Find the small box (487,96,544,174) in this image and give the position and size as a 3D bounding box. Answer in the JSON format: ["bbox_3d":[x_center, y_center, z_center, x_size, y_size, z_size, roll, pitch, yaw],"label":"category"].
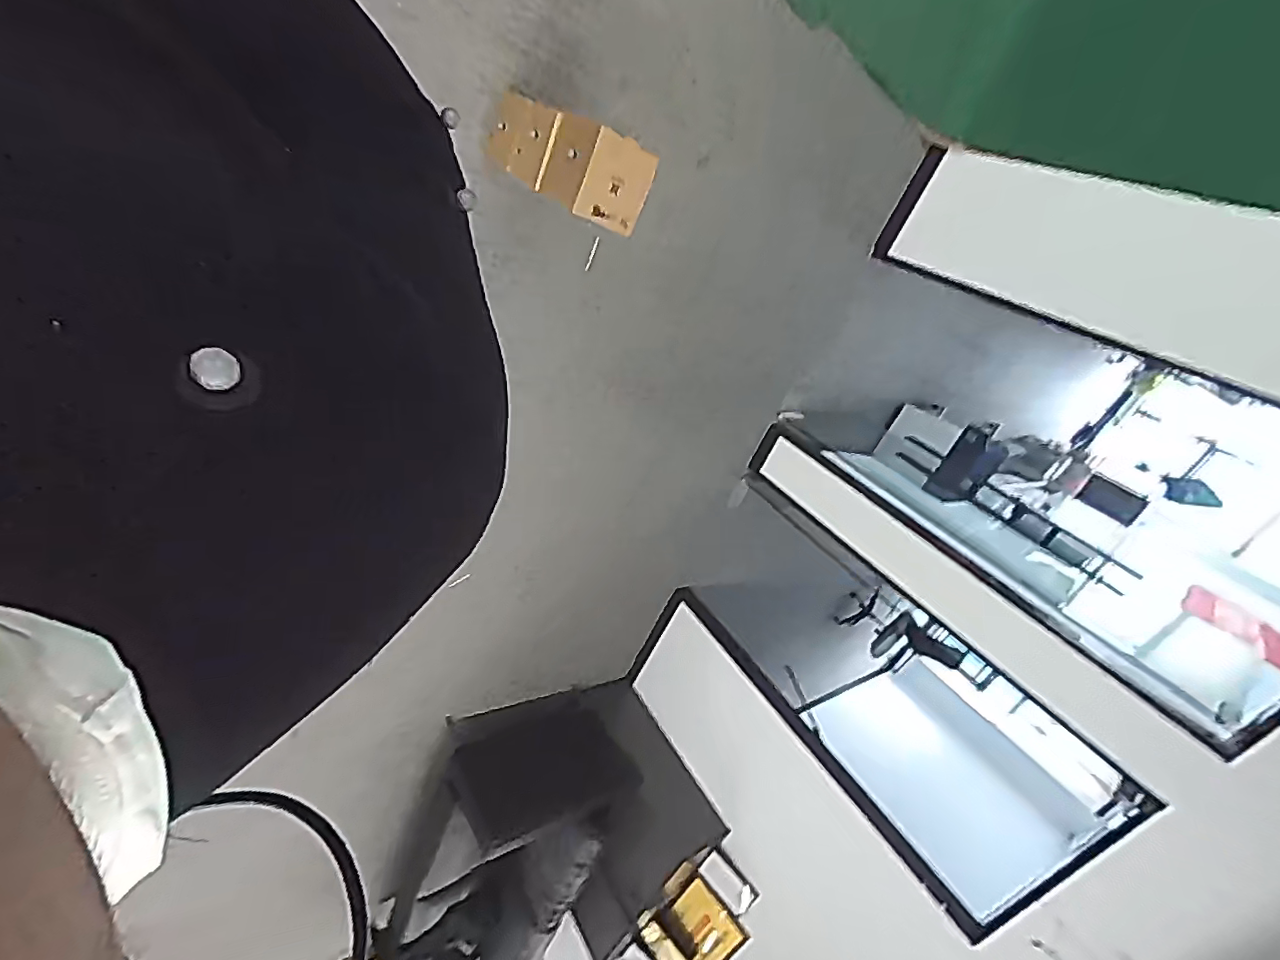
[{"bbox_3d":[-0.272,-0.861,1.401,0.179,0.176,0.168,5,122,-44],"label":"small box"}]

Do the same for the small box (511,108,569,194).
[{"bbox_3d":[-0.186,-0.767,1.301,0.179,0.176,0.168,2,123,-42],"label":"small box"}]

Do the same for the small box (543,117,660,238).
[{"bbox_3d":[-0.093,-0.673,1.203,0.168,0.176,0.179,3,121,-43],"label":"small box"}]
